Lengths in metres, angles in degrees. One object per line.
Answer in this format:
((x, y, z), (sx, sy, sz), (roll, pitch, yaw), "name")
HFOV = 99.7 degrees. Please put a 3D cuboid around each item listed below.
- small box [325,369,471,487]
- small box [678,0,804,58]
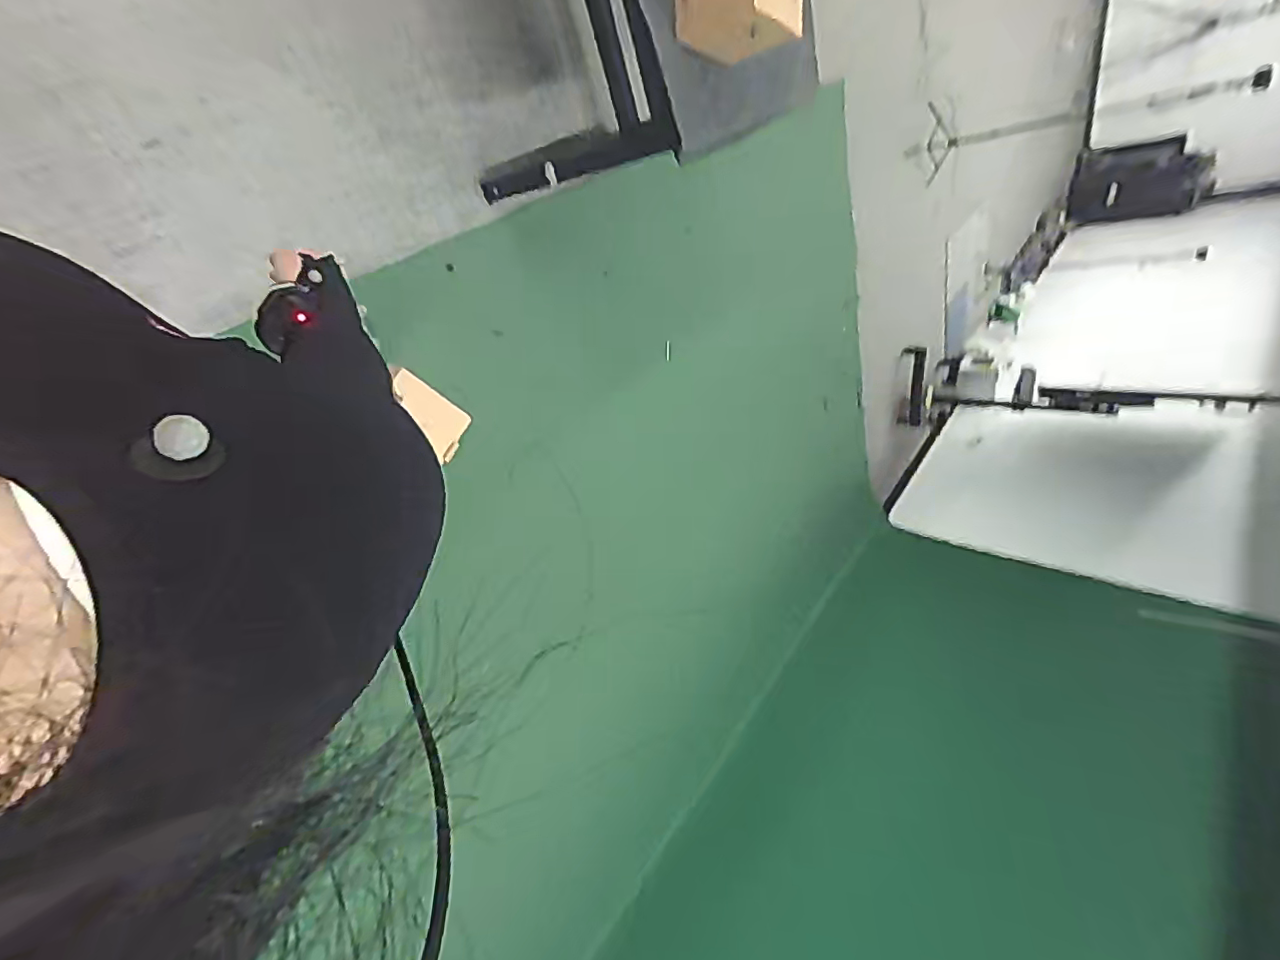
((-0.486, -0.110, 1.087), (0.179, 0.176, 0.168), (42, 70, -45), "small box")
((0.179, -0.895, 0.970), (0.179, 0.176, 0.168), (-23, 117, -44), "small box")
